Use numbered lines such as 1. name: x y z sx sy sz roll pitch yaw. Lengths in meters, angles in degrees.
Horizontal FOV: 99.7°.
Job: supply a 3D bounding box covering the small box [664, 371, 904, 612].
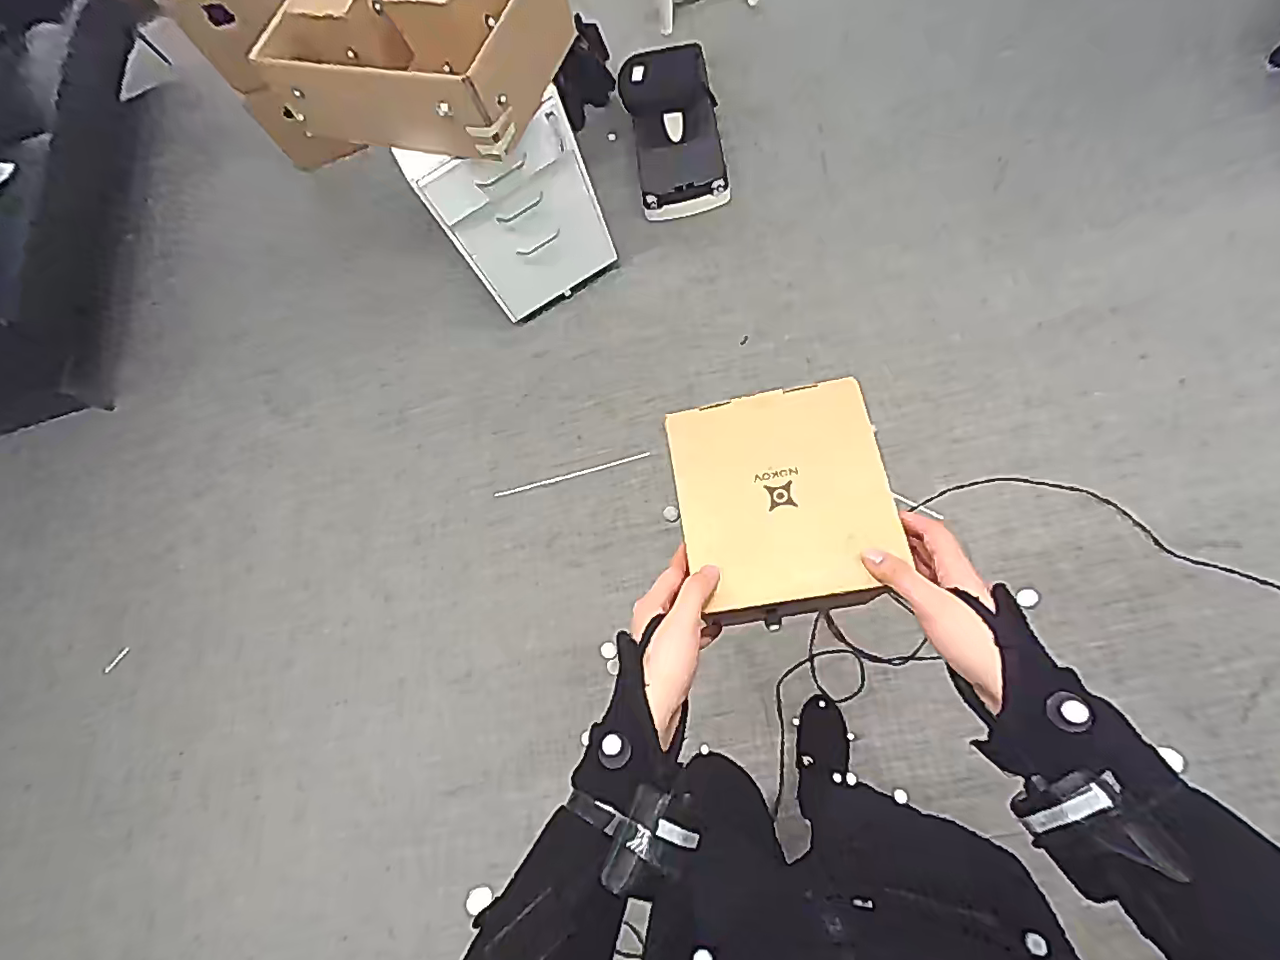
1. small box: 0.127 0.026 0.519 0.168 0.176 0.179 -11 68 8
